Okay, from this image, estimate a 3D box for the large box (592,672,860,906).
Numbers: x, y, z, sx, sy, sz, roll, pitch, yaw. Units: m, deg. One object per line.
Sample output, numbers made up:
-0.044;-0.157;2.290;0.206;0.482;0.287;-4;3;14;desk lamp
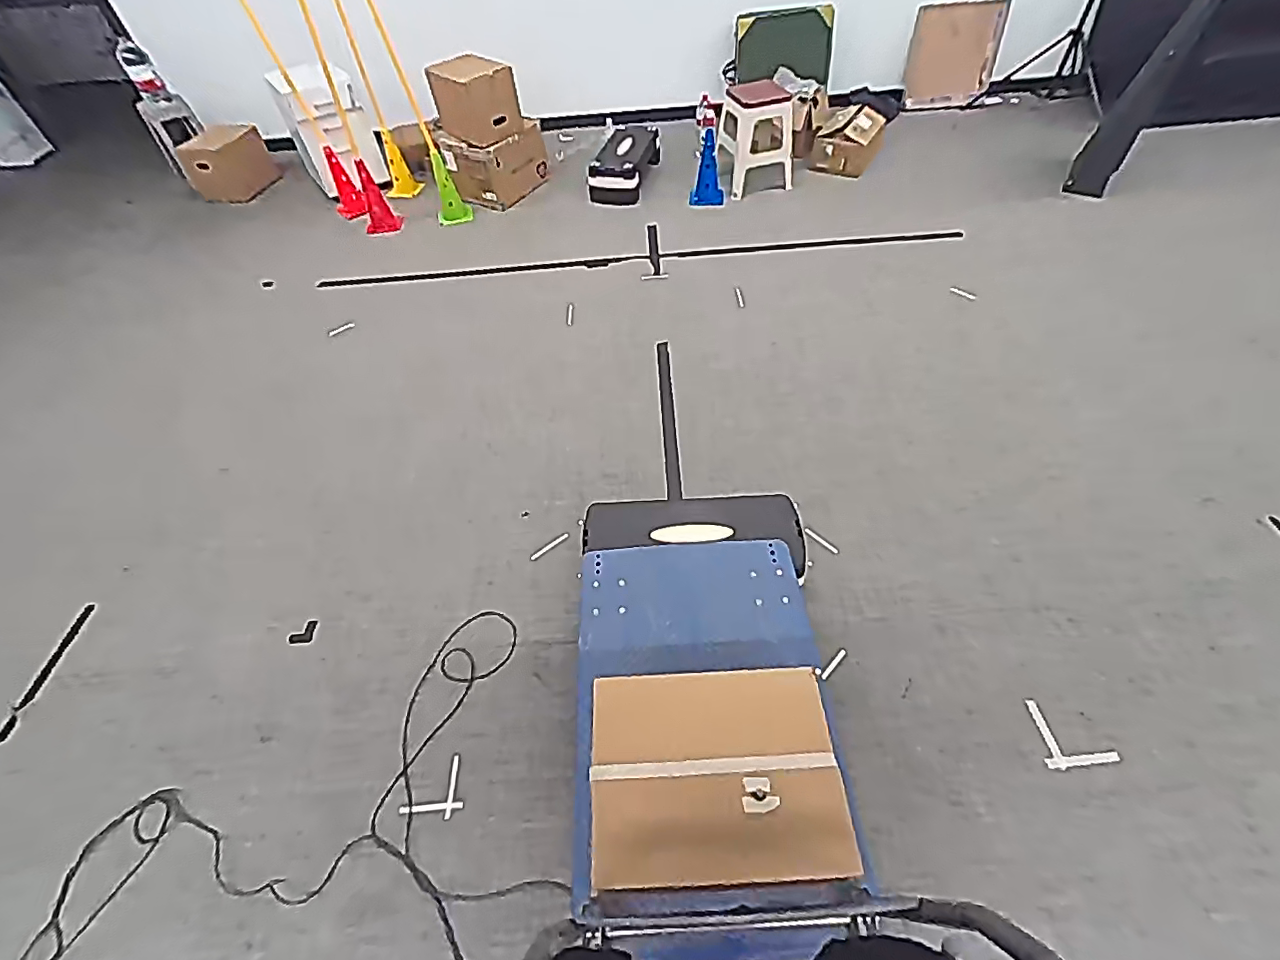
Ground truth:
0.124;0.576;1.002;0.408;0.320;0.320;-3;51;0;large box
